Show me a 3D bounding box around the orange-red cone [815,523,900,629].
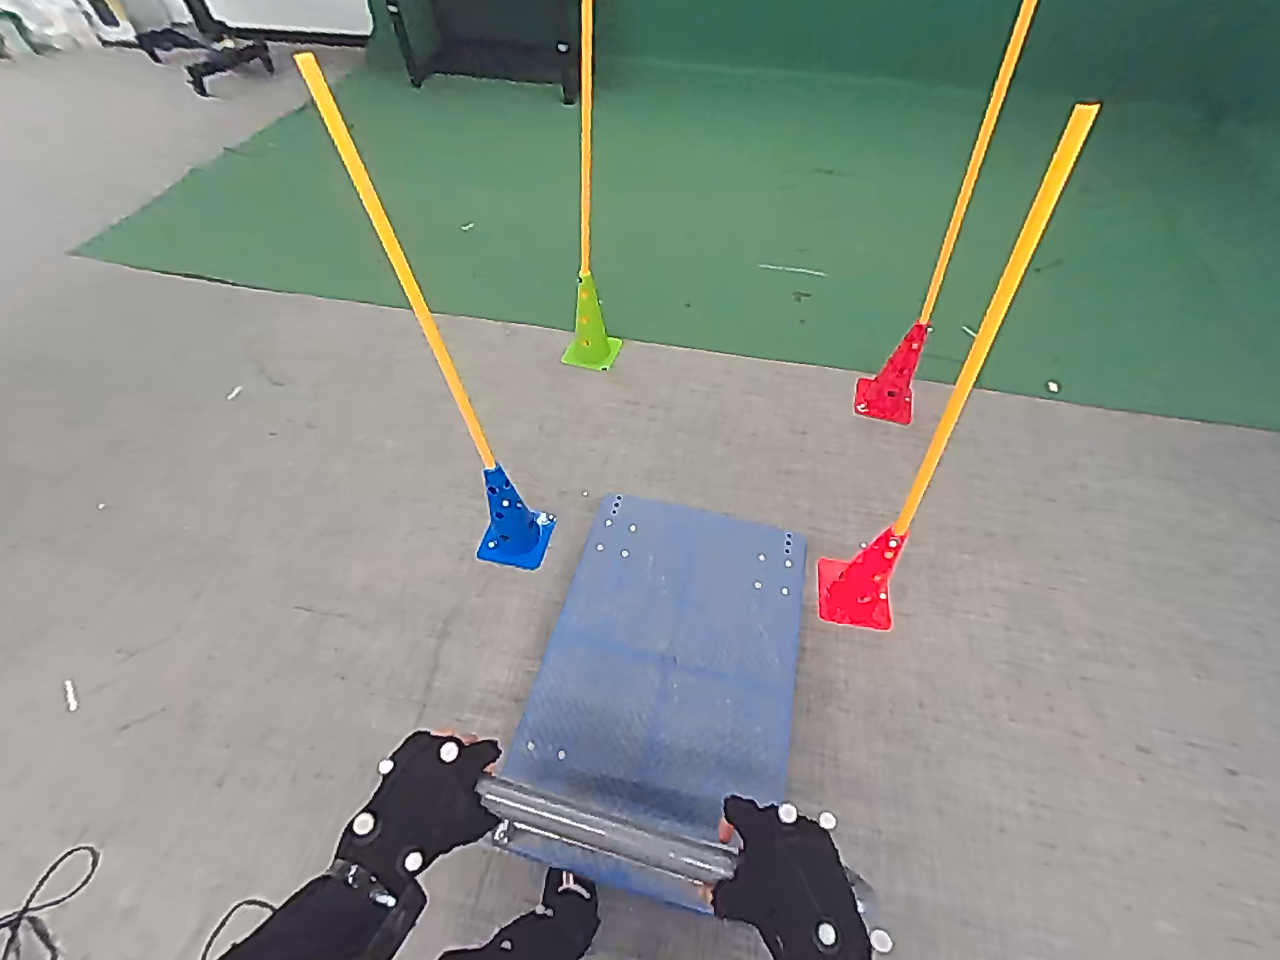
[{"bbox_3d":[0.604,0.224,1.431,0.199,0.360,0.198,9,54,8],"label":"orange-red cone"}]

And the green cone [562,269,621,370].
[{"bbox_3d":[-0.197,-0.626,2.045,0.202,0.368,0.200,13,54,10],"label":"green cone"}]
